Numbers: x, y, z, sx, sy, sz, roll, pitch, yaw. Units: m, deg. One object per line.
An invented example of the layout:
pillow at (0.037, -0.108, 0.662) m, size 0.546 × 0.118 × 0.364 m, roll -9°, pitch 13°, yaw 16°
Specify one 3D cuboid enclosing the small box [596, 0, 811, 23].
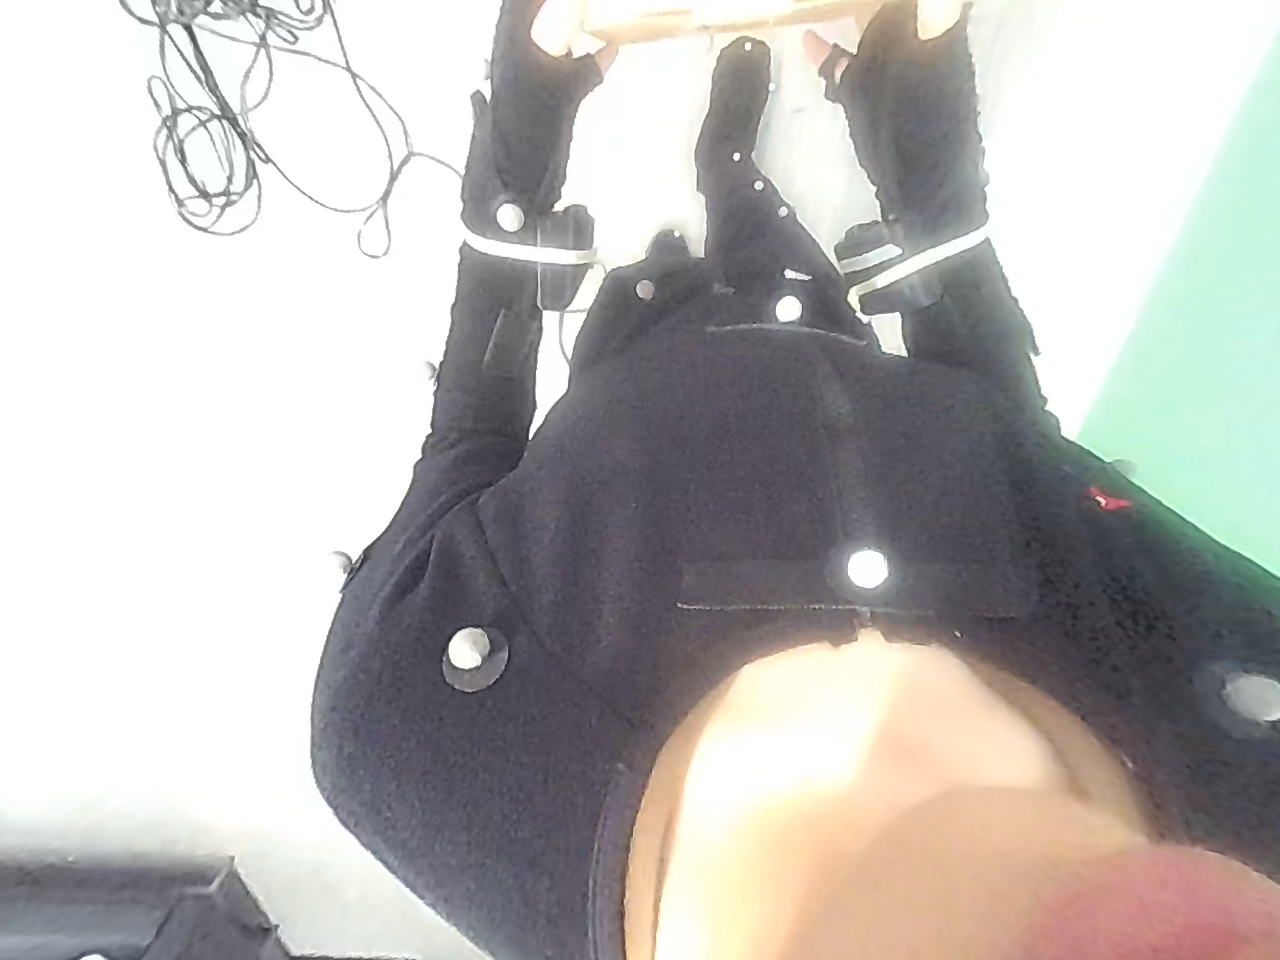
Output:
small box at (0.041, -0.344, 0.256) m, size 0.168 × 0.176 × 0.179 m, roll -2°, pitch 127°, yaw 6°
